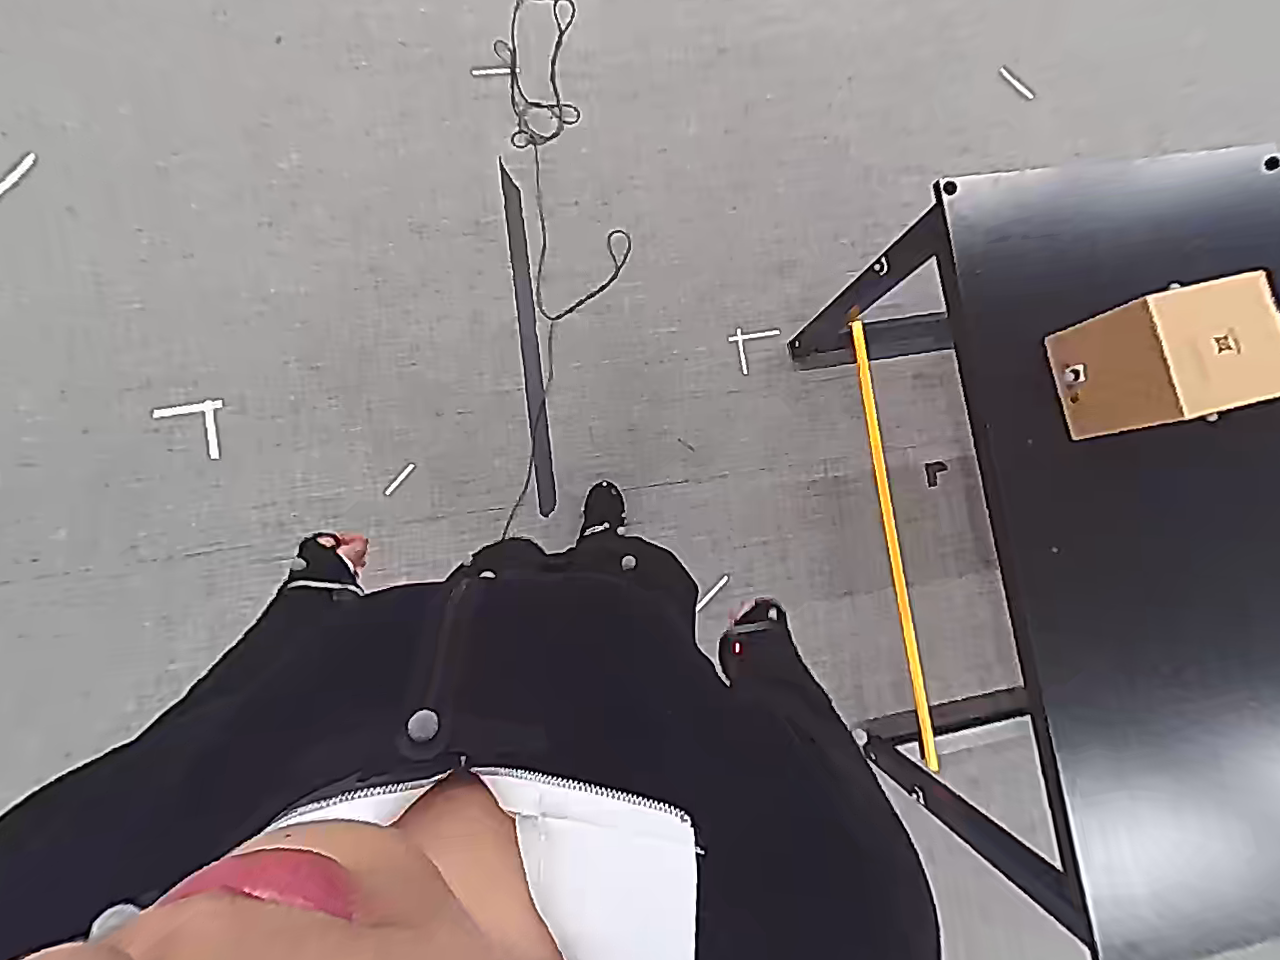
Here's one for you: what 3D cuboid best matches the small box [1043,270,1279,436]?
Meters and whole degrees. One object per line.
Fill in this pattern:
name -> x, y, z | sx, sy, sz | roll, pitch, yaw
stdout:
small box -> 0.735, -0.169, 0.770 | 0.179, 0.176, 0.168 | -14, 86, -5
